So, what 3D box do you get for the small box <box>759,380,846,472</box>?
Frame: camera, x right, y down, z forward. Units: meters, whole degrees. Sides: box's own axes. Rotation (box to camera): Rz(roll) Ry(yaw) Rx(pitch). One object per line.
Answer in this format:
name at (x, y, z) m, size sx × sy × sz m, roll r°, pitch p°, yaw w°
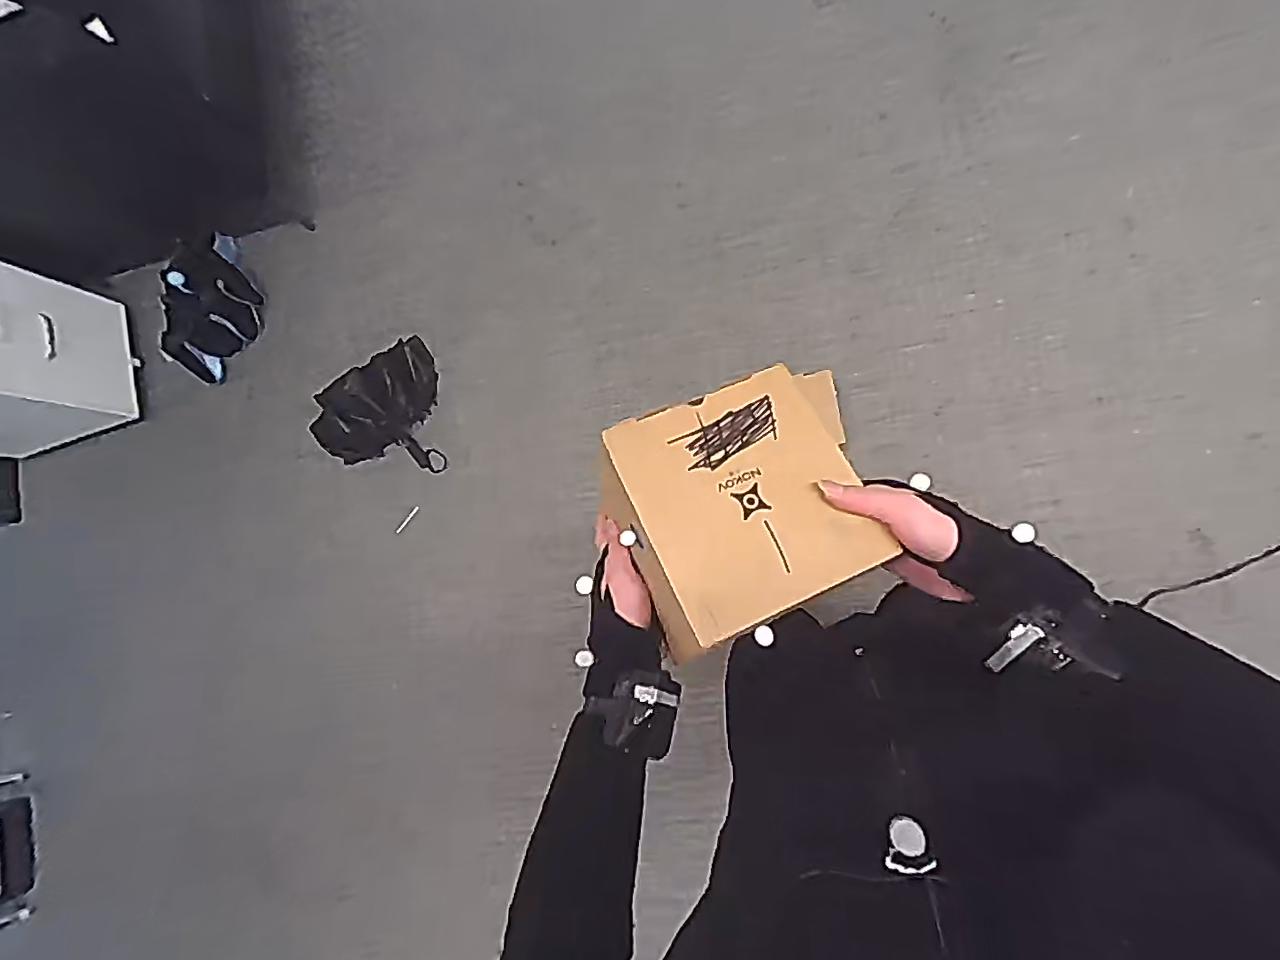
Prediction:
small box at (0.384, -0.123, 1.306) m, size 0.168 × 0.176 × 0.179 m, roll -11°, pitch 84°, yaw 12°
